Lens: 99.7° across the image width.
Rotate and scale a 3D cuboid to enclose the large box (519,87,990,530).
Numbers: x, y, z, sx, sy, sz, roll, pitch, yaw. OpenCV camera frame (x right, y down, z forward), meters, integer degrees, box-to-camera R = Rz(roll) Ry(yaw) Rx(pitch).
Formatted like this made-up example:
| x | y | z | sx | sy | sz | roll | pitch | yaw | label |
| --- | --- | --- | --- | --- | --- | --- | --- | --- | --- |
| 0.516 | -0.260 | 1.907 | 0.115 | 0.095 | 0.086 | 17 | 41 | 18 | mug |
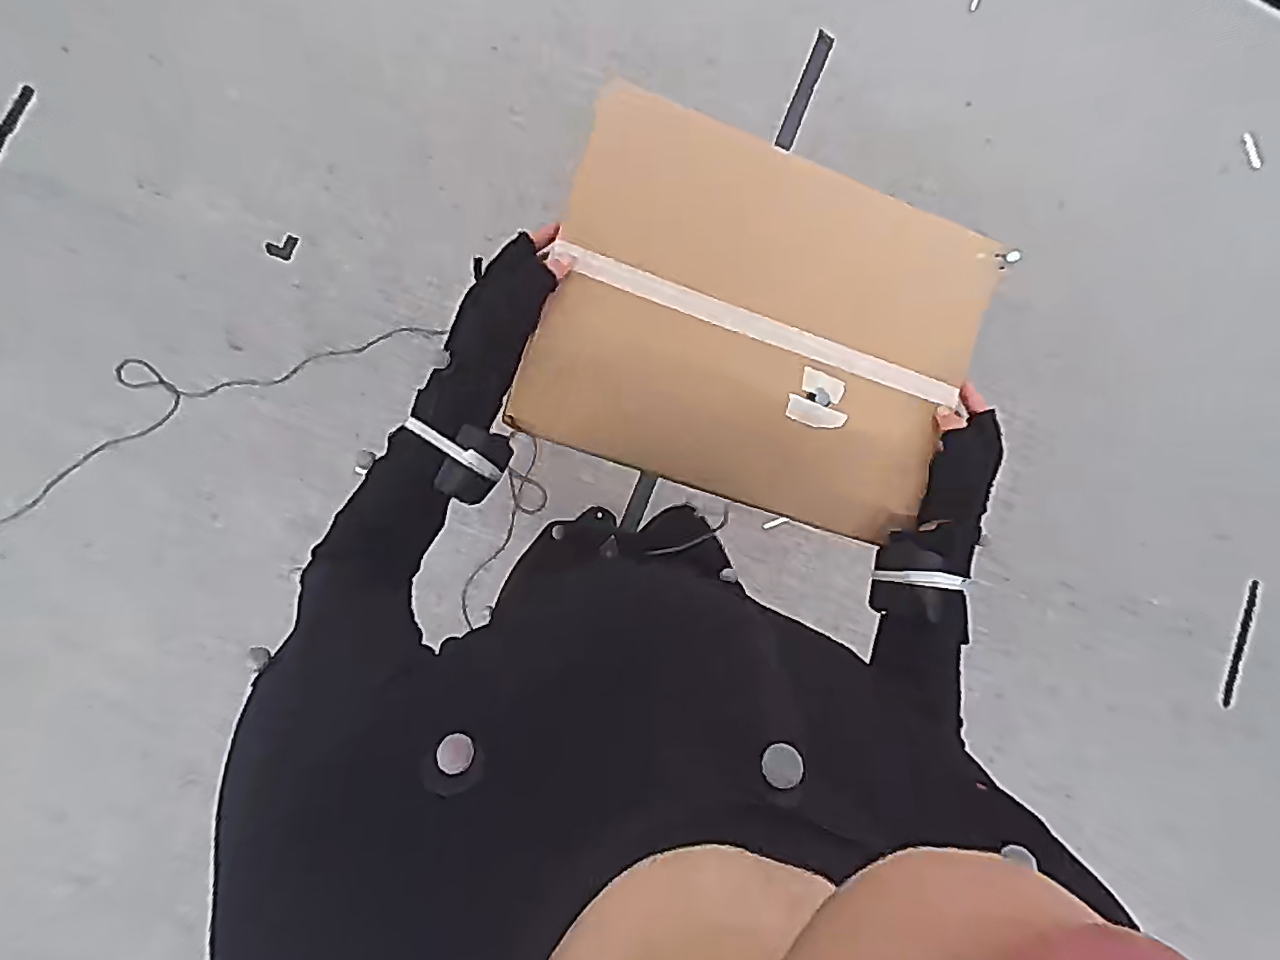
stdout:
| x | y | z | sx | sy | sz | roll | pitch | yaw | label |
| --- | --- | --- | --- | --- | --- | --- | --- | --- | --- |
| 0.097 | -0.161 | 0.658 | 0.408 | 0.320 | 0.320 | 18 | 93 | -9 | large box |
